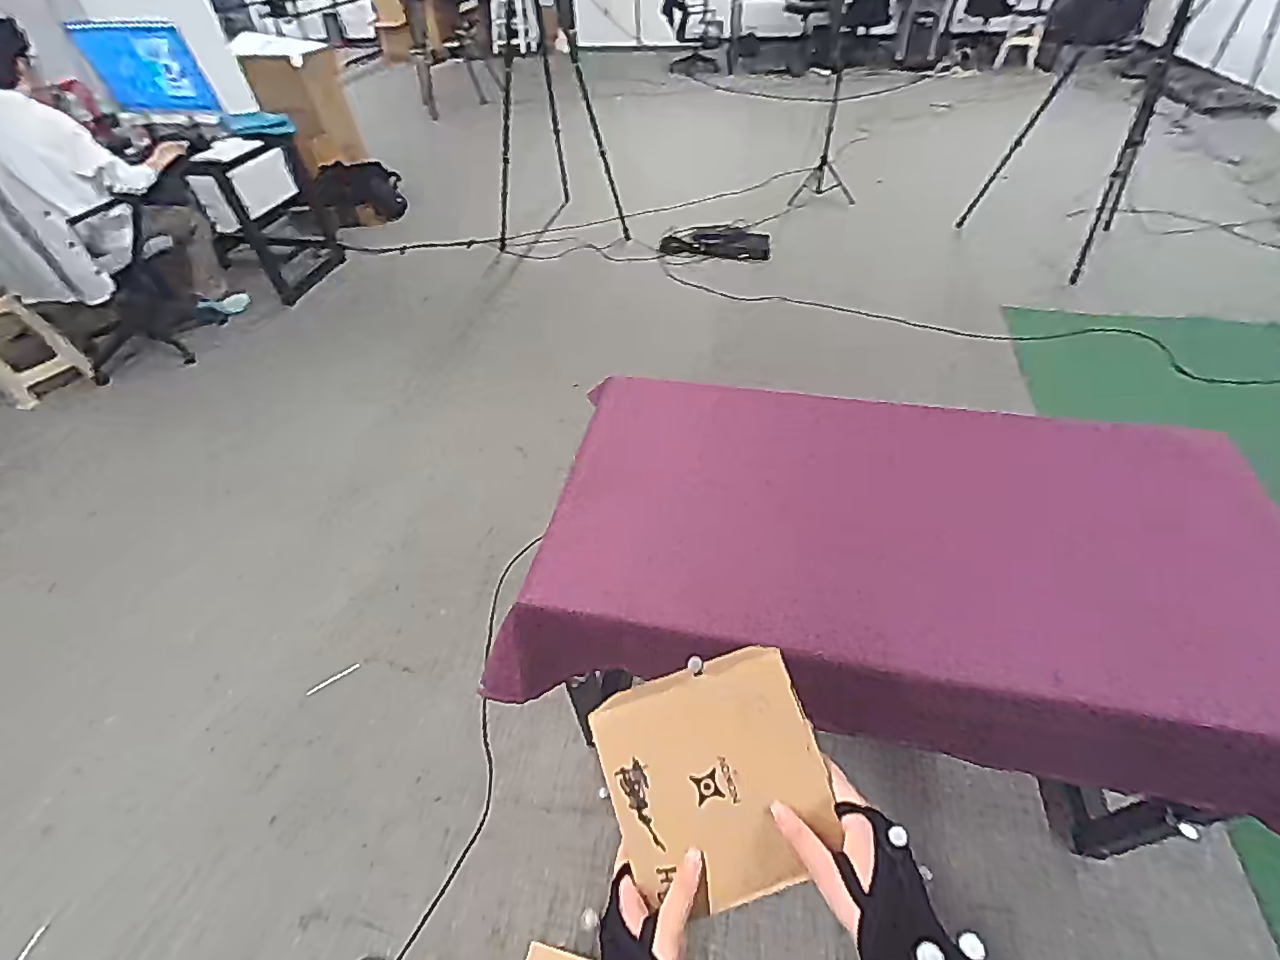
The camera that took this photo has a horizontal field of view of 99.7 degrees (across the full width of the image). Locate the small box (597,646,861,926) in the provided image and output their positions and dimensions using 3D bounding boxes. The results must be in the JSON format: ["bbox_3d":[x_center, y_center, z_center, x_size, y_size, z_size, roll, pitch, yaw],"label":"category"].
[{"bbox_3d":[0.072,0.266,0.518,0.179,0.176,0.168,-19,74,-1],"label":"small box"}]
